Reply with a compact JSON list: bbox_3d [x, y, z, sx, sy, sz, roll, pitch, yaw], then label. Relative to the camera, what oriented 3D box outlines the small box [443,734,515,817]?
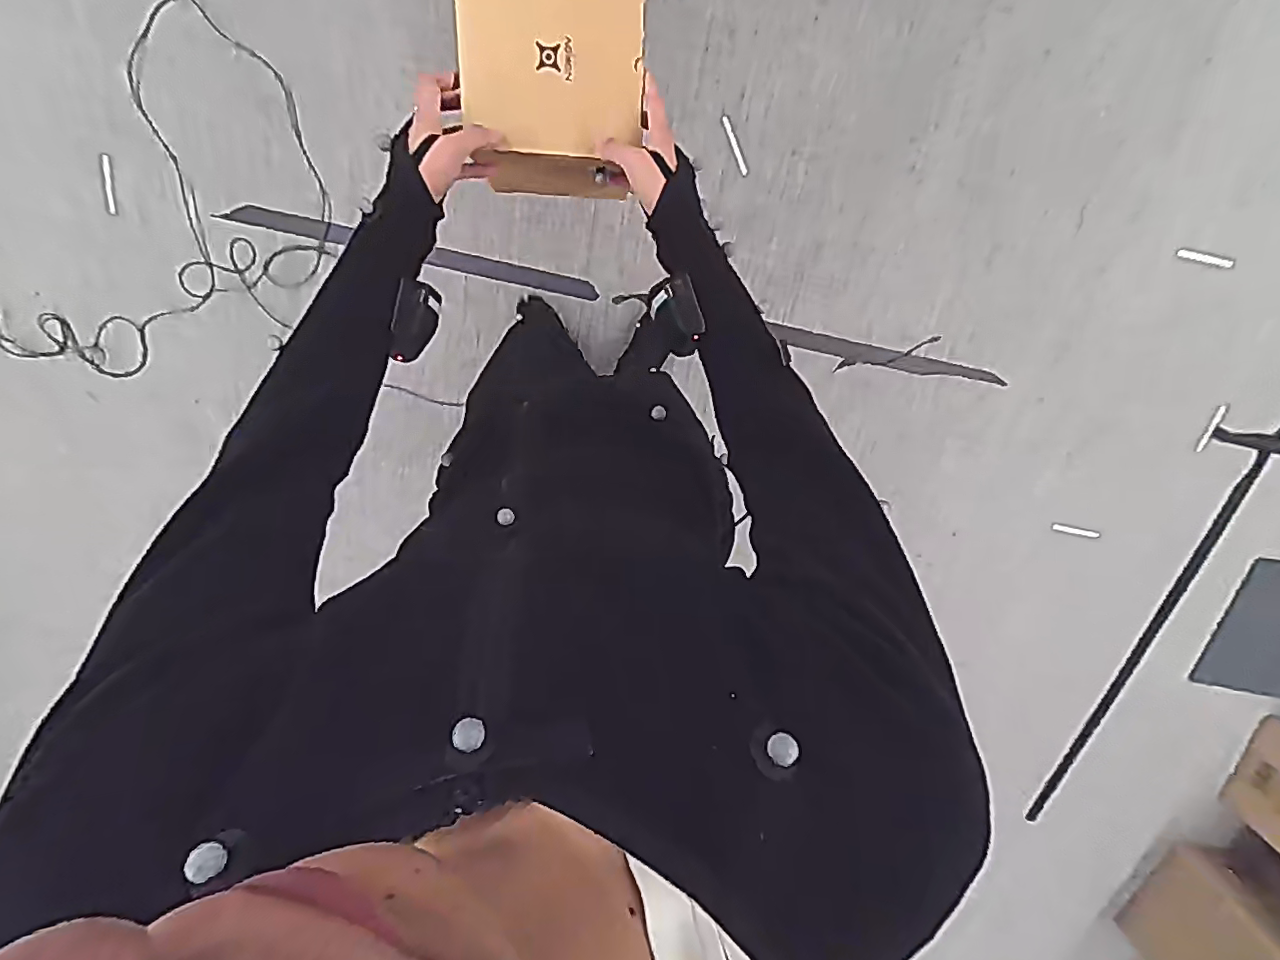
[{"bbox_3d":[-0.536,0.983,1.812,0.179,0.176,0.168,13,111,-3],"label":"small box"}]

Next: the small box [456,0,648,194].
[{"bbox_3d":[-0.091,-0.421,0.583,0.179,0.176,0.168,0,106,-9],"label":"small box"}]
